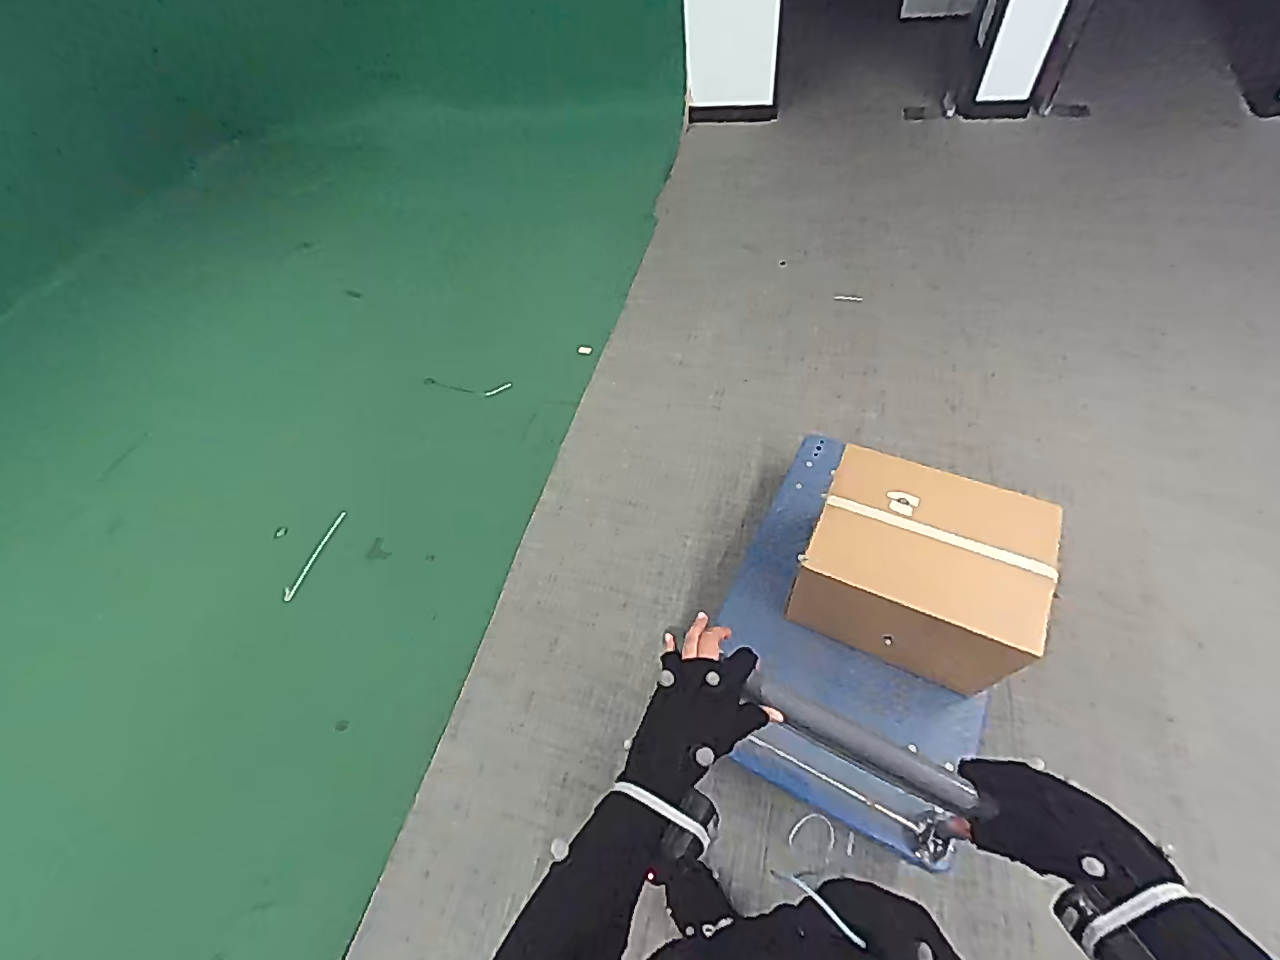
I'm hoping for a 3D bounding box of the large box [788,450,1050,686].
[{"bbox_3d":[0.567,0.189,1.158,0.408,0.320,0.320,19,62,21],"label":"large box"}]
